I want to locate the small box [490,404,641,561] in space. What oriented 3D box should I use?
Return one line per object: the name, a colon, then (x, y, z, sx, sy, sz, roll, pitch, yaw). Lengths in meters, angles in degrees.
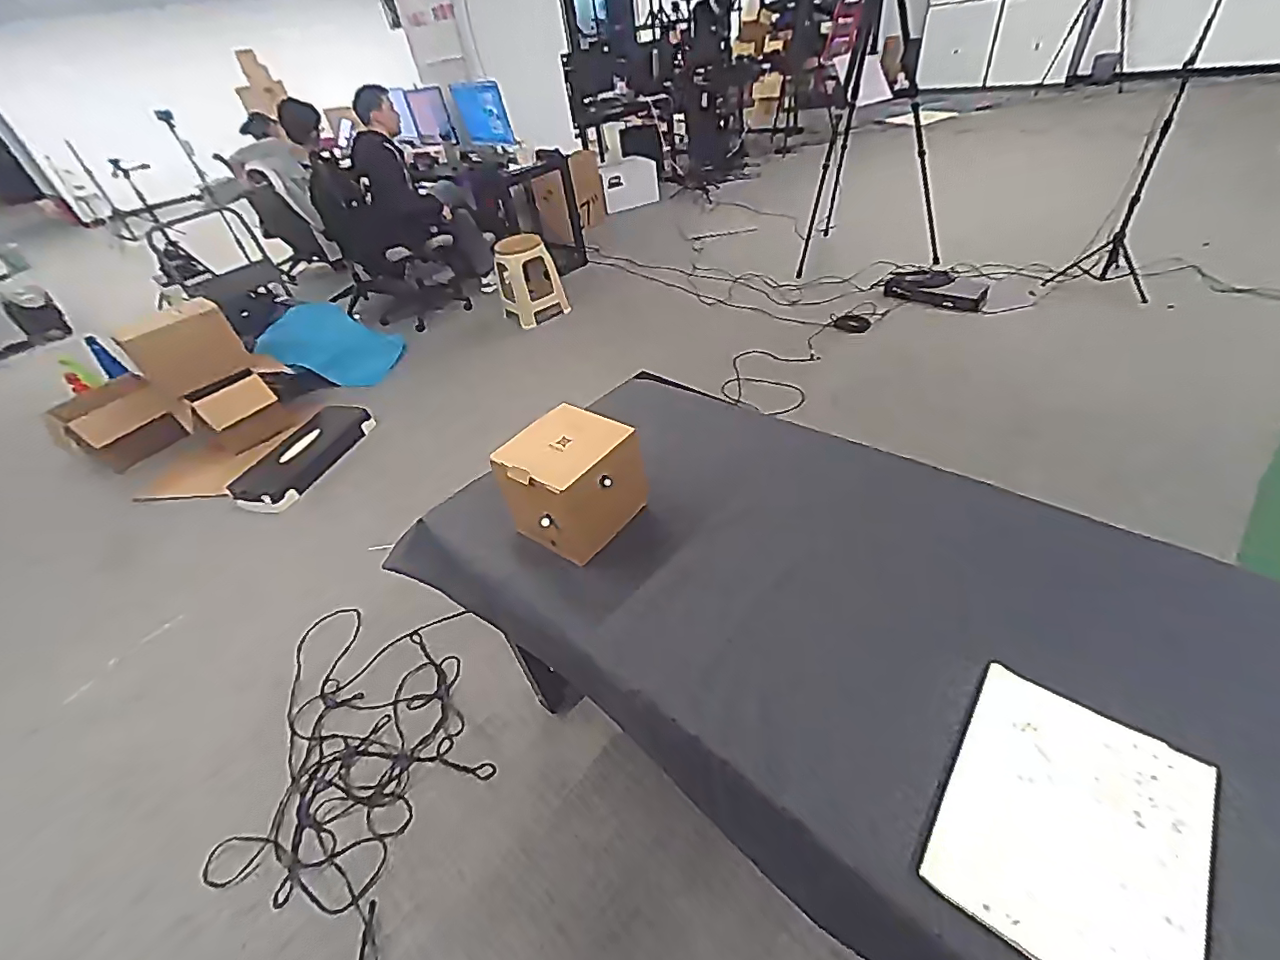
small box: (-0.112, 0.003, 0.901, 0.168, 0.176, 0.179, 23, 49, 31)
